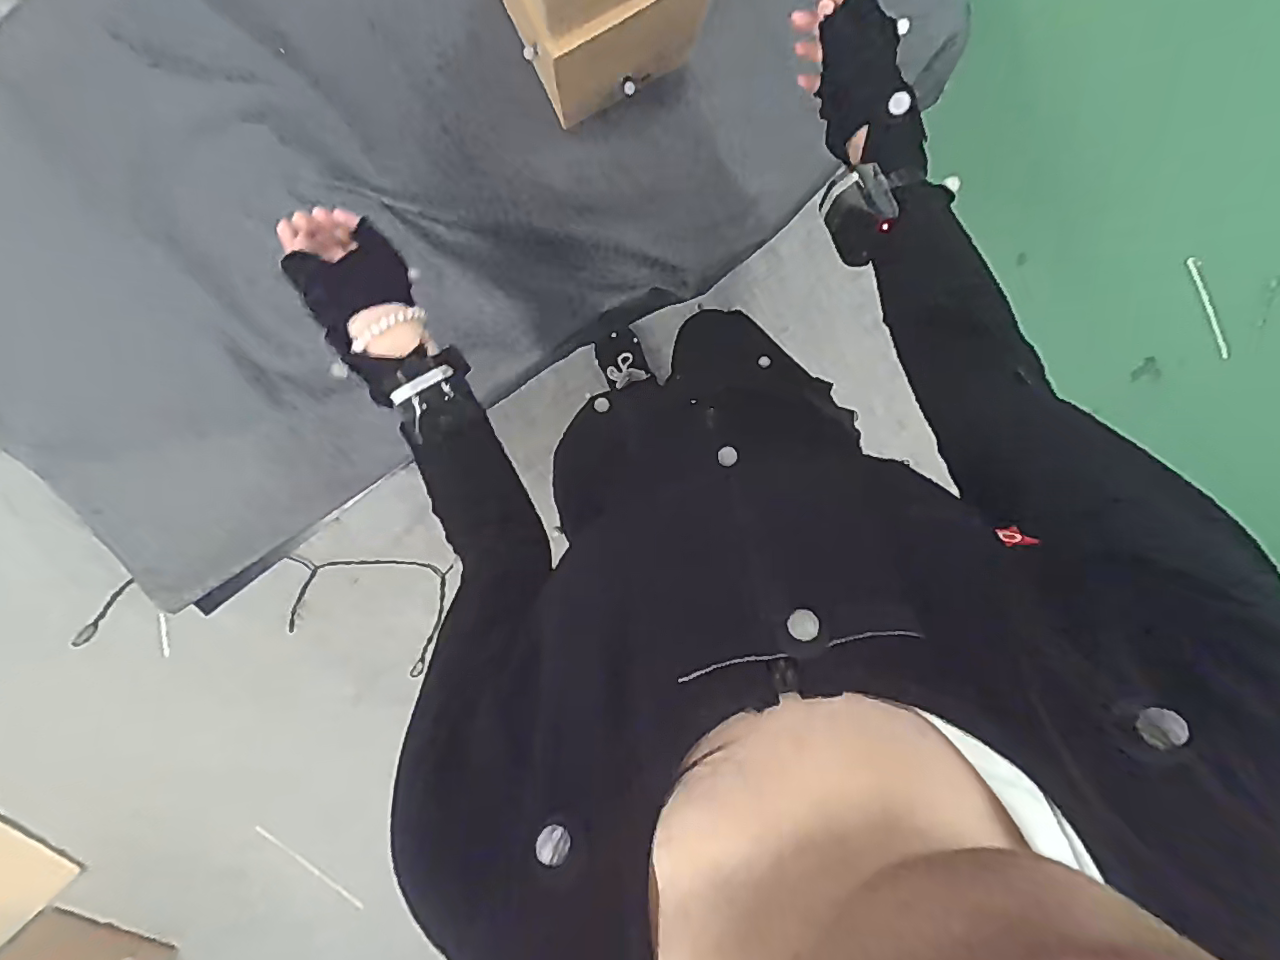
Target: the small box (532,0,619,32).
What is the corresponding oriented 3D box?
[{"bbox_3d":[-0.031,-0.461,0.363,0.179,0.176,0.168,-26,106,3],"label":"small box"}]
